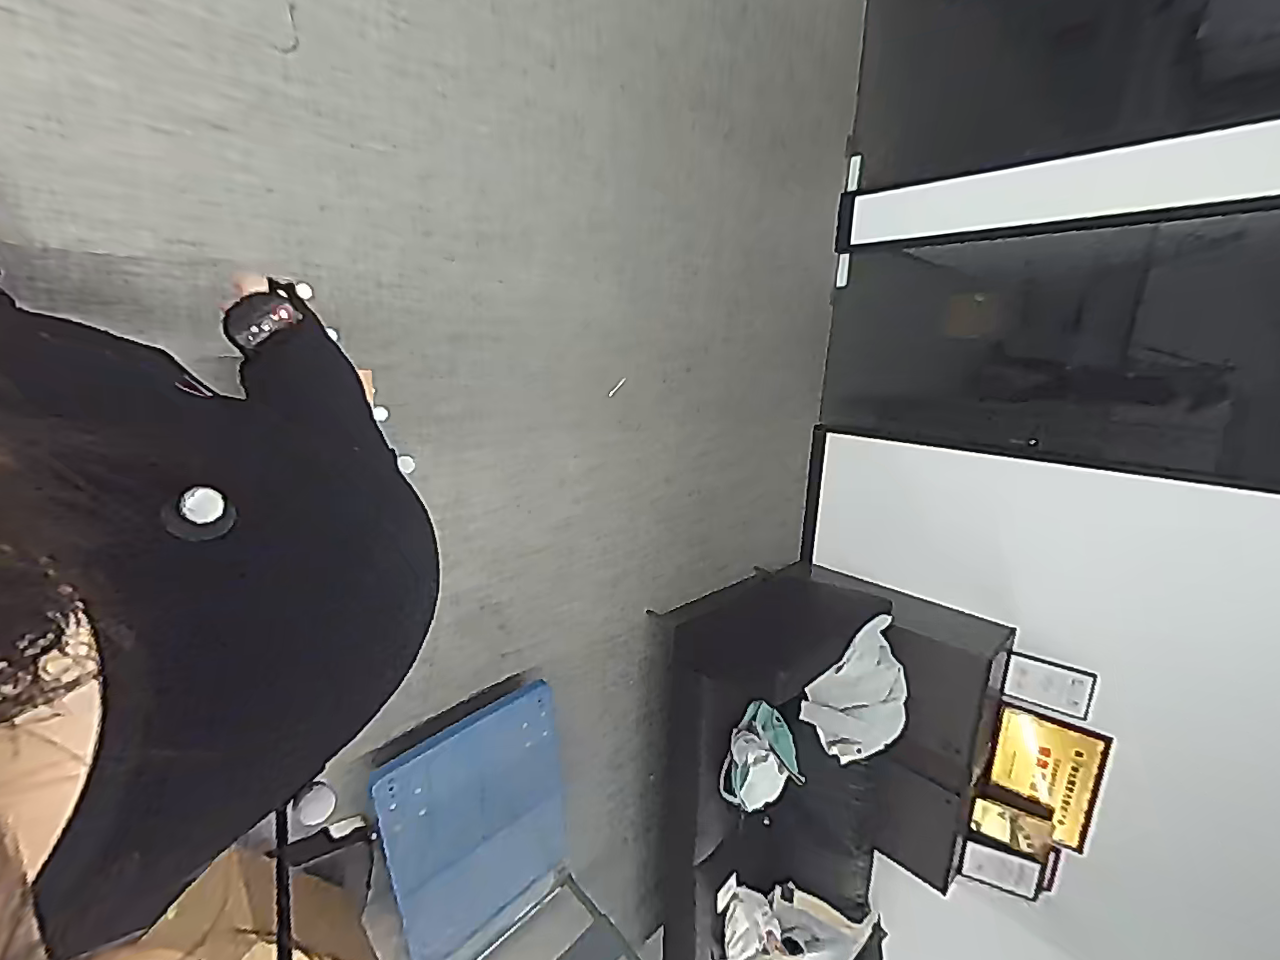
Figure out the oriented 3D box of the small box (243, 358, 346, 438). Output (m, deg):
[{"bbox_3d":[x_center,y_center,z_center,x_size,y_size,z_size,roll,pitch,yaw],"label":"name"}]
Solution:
[{"bbox_3d":[-0.788,-0.189,1.236,0.179,0.176,0.168,-9,108,-45],"label":"small box"}]
